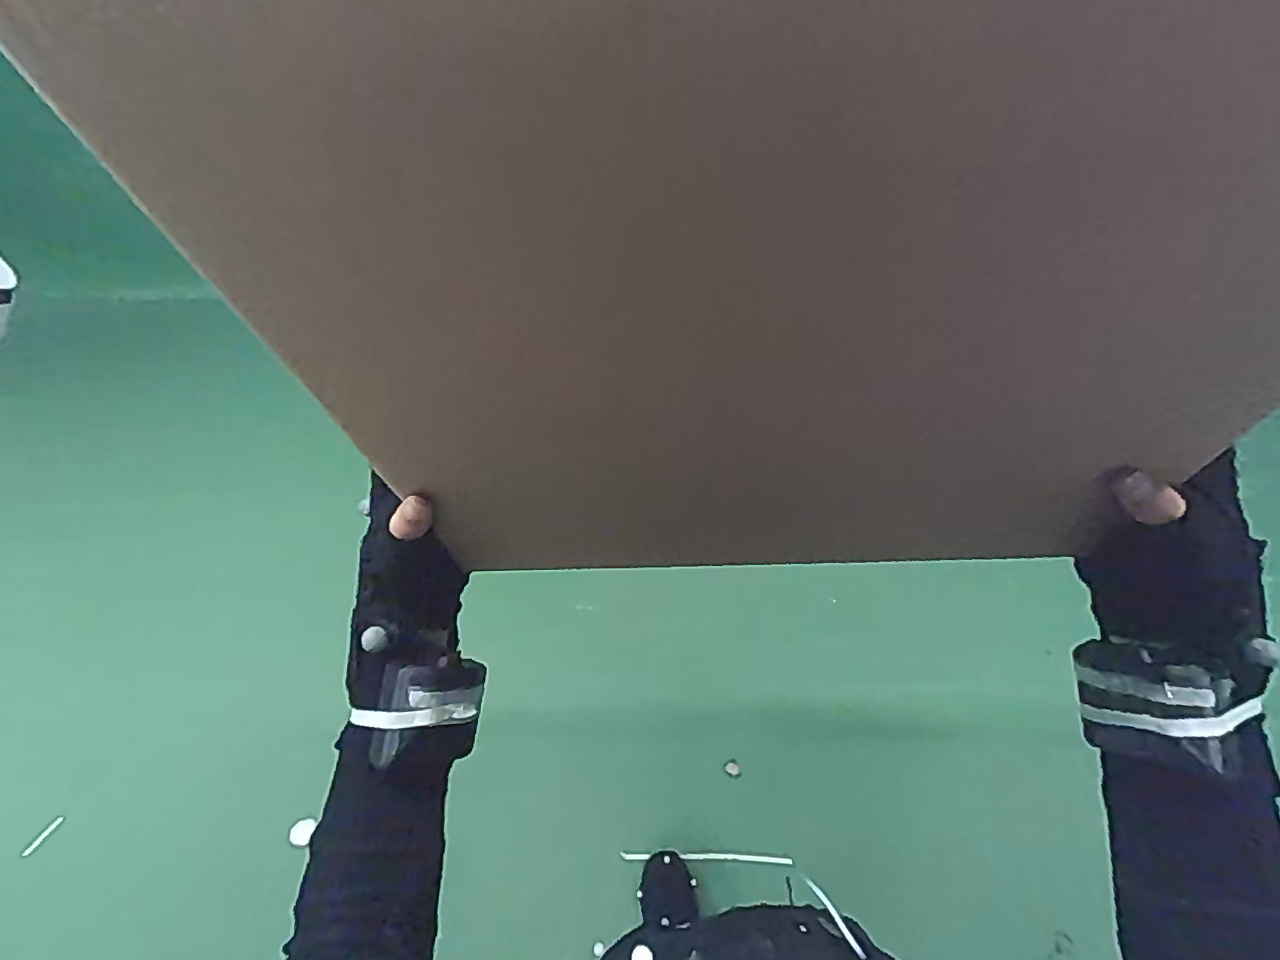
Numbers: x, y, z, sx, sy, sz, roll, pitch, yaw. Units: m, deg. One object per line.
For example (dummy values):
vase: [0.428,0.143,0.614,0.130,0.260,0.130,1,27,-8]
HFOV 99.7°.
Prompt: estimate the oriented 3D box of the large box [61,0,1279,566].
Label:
large box: [0.069,-0.158,0.318,0.408,0.320,0.320,-2,55,5]
